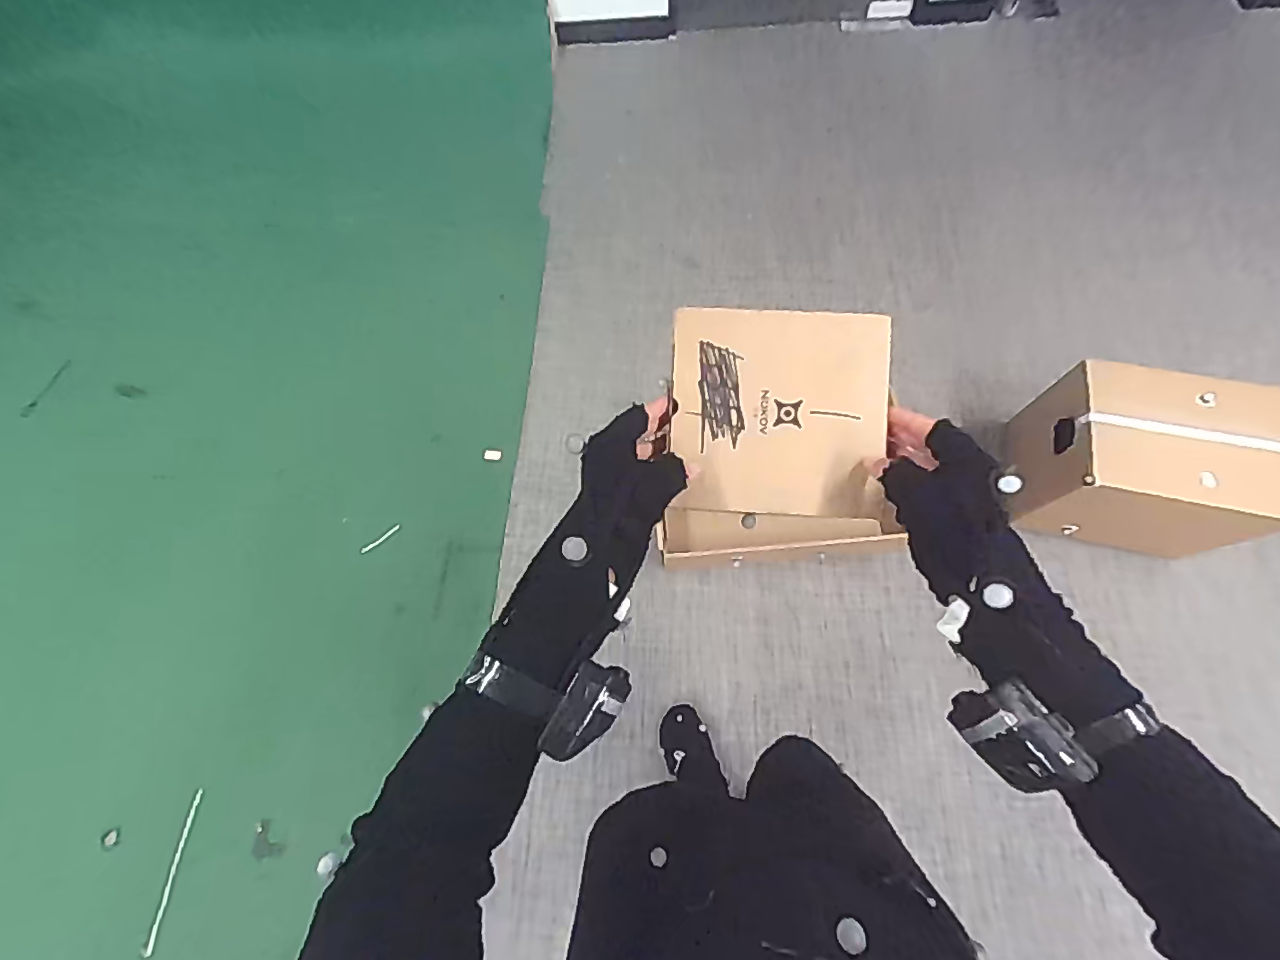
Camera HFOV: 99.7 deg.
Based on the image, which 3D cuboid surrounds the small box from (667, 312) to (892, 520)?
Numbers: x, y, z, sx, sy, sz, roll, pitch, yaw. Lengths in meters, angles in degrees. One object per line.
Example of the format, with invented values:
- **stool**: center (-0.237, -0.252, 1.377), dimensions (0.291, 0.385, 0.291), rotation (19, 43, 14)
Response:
- **small box**: center (0.117, -0.048, 0.518), dimensions (0.179, 0.176, 0.168), rotation (3, 87, 2)
